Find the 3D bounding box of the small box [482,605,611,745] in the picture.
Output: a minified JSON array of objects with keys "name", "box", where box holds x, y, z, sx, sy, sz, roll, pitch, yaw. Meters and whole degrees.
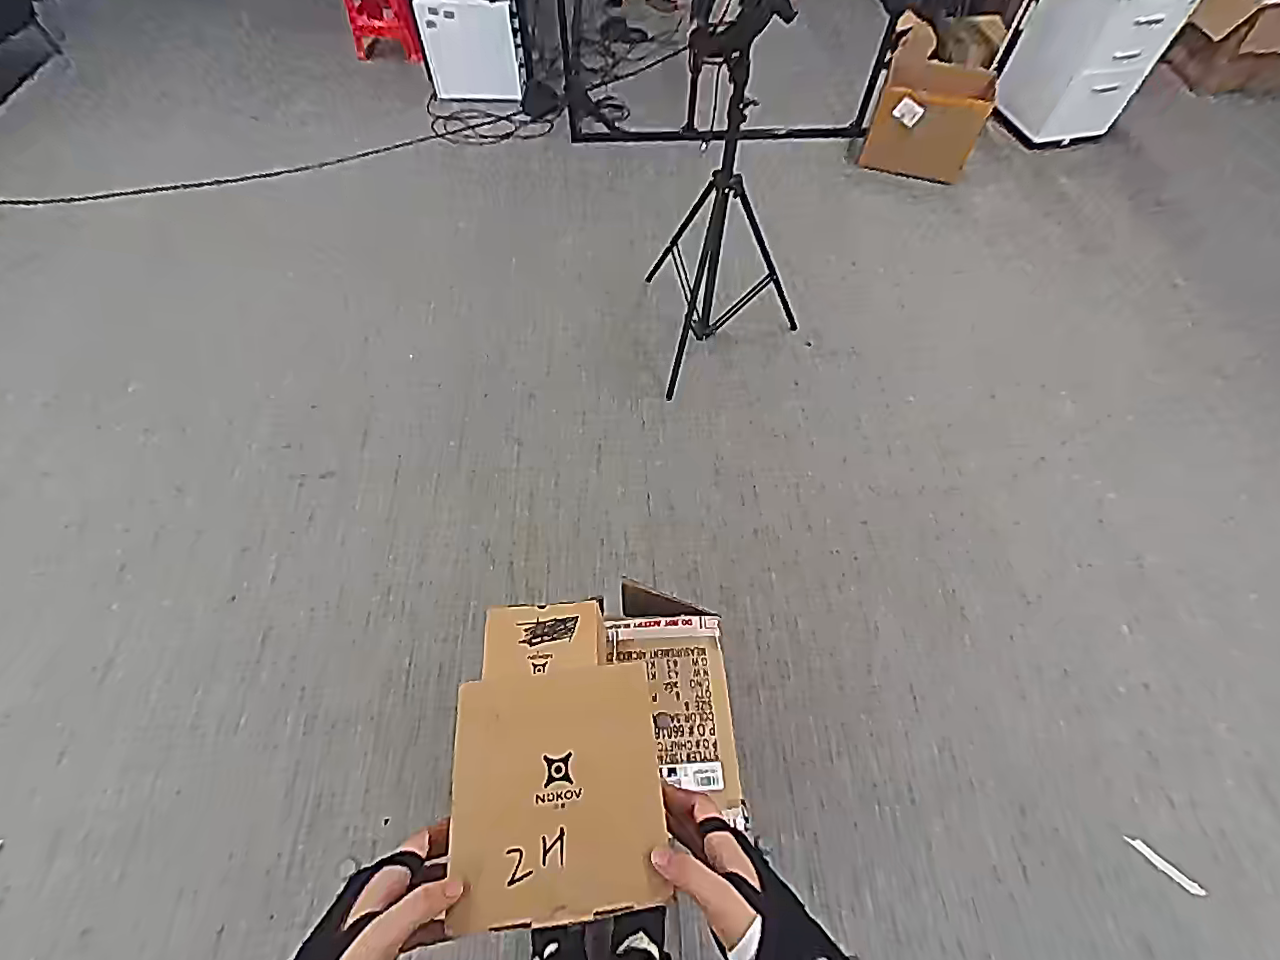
[{"name":"small box","box":[-0.134,0.304,0.835,0.168,0.176,0.179,-4,62,0]}]
